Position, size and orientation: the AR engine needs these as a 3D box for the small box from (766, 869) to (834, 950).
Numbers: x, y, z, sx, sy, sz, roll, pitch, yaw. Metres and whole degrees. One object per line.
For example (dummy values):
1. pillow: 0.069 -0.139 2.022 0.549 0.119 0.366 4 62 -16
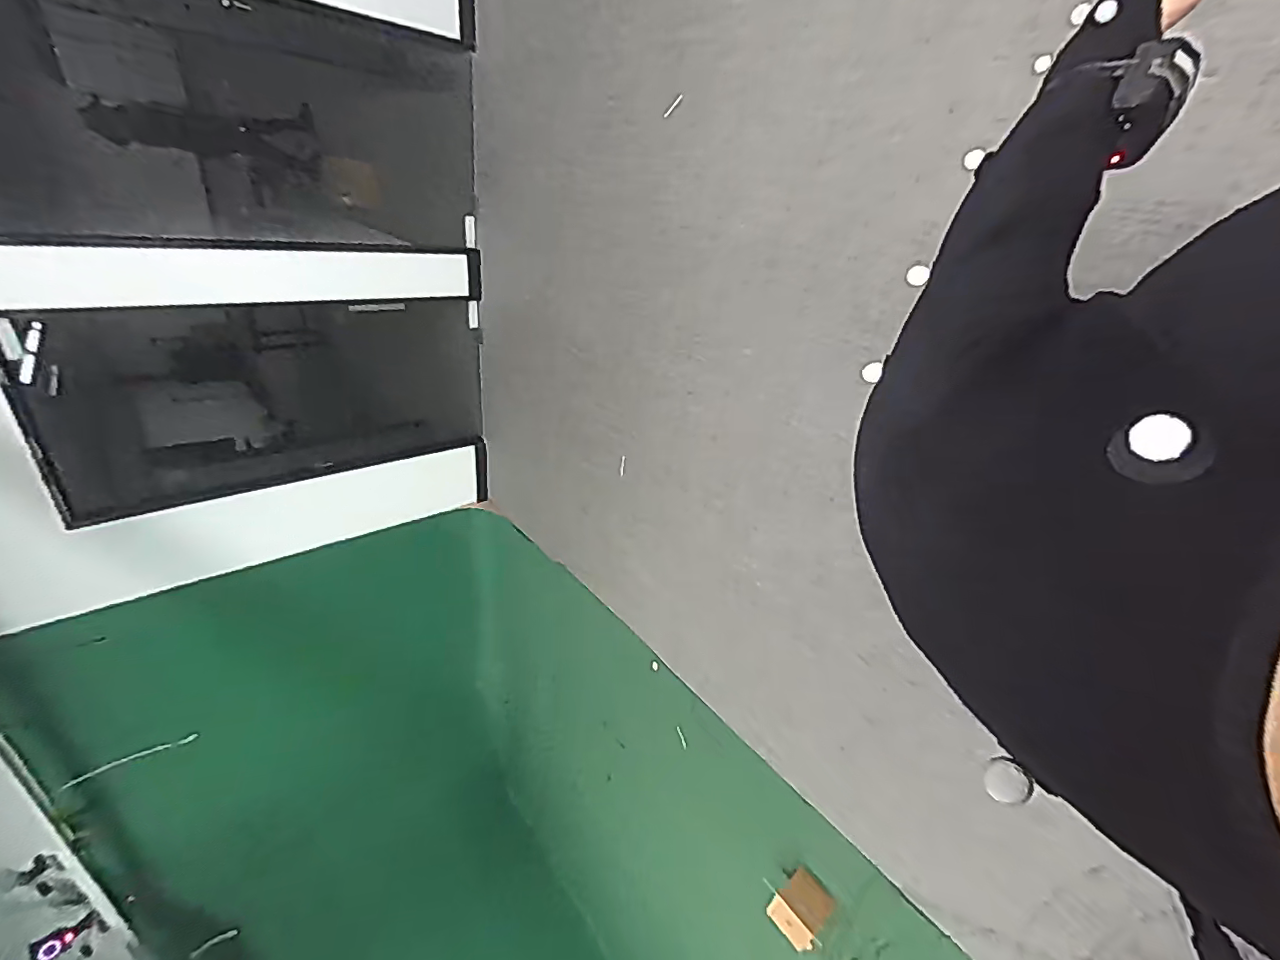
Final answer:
1. small box: 0.647 1.723 2.185 0.179 0.176 0.168 38 130 37
